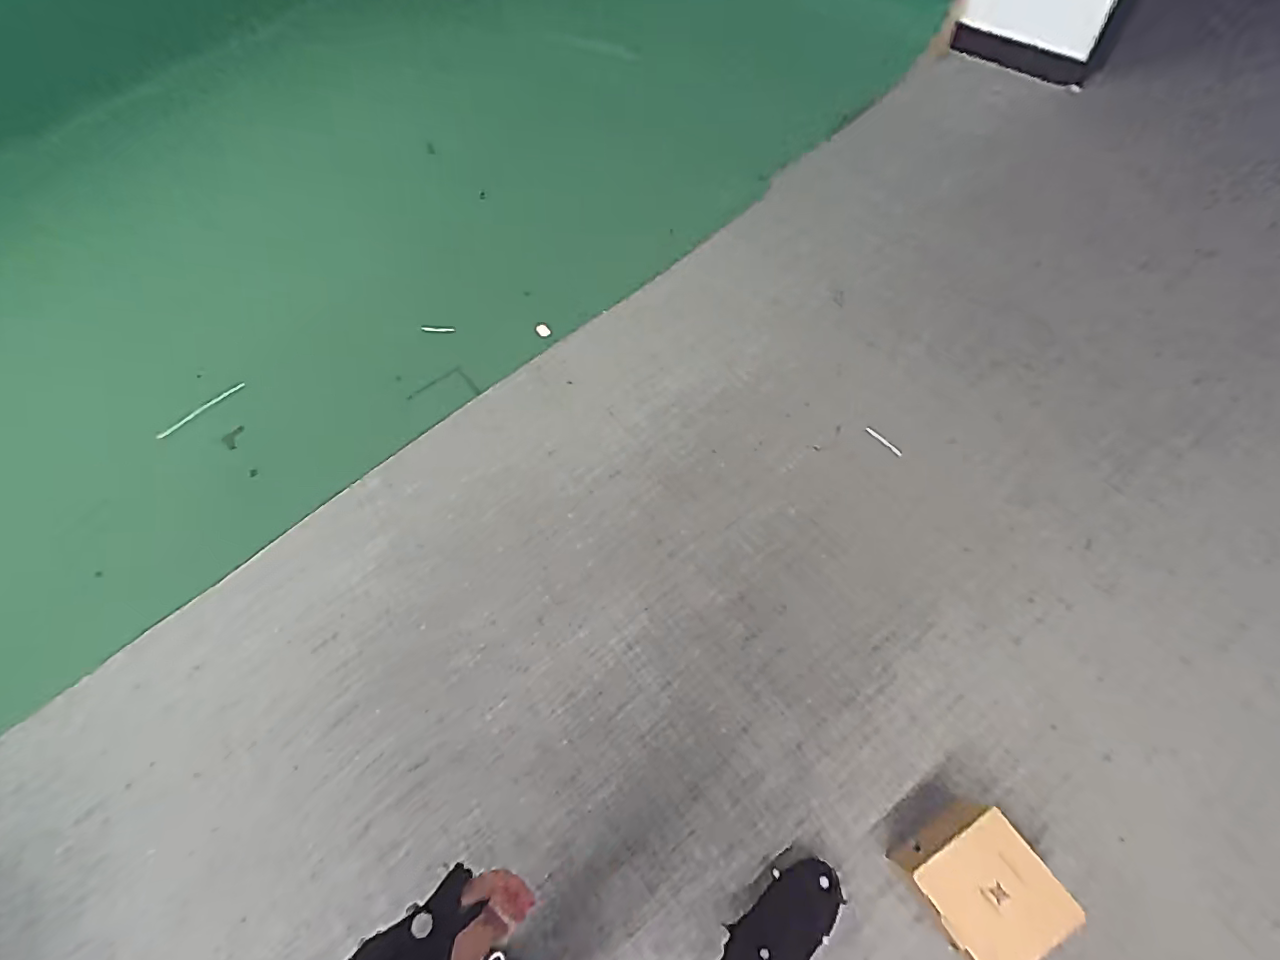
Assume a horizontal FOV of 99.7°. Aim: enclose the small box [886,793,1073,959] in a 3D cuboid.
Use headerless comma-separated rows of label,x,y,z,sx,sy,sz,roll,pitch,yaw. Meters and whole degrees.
small box,0.531,0.642,0.881,0.179,0.176,0.168,-33,65,-8
